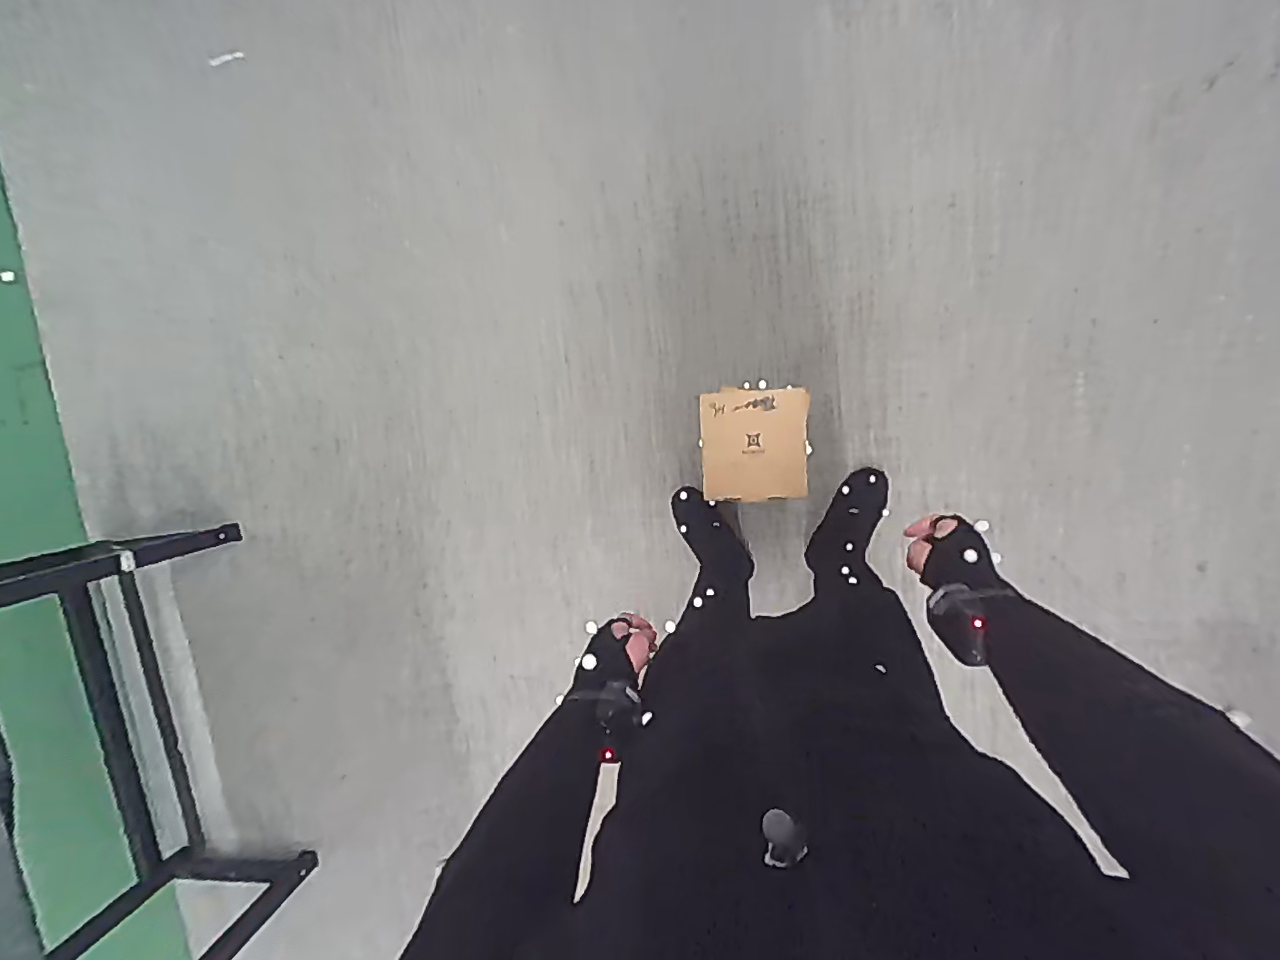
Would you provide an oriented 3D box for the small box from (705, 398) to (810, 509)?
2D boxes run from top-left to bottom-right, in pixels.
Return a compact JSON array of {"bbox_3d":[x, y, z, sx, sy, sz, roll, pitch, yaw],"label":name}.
[{"bbox_3d":[0.205,-0.052,0.945,0.168,0.176,0.179,-1,98,13],"label":"small box"}]
